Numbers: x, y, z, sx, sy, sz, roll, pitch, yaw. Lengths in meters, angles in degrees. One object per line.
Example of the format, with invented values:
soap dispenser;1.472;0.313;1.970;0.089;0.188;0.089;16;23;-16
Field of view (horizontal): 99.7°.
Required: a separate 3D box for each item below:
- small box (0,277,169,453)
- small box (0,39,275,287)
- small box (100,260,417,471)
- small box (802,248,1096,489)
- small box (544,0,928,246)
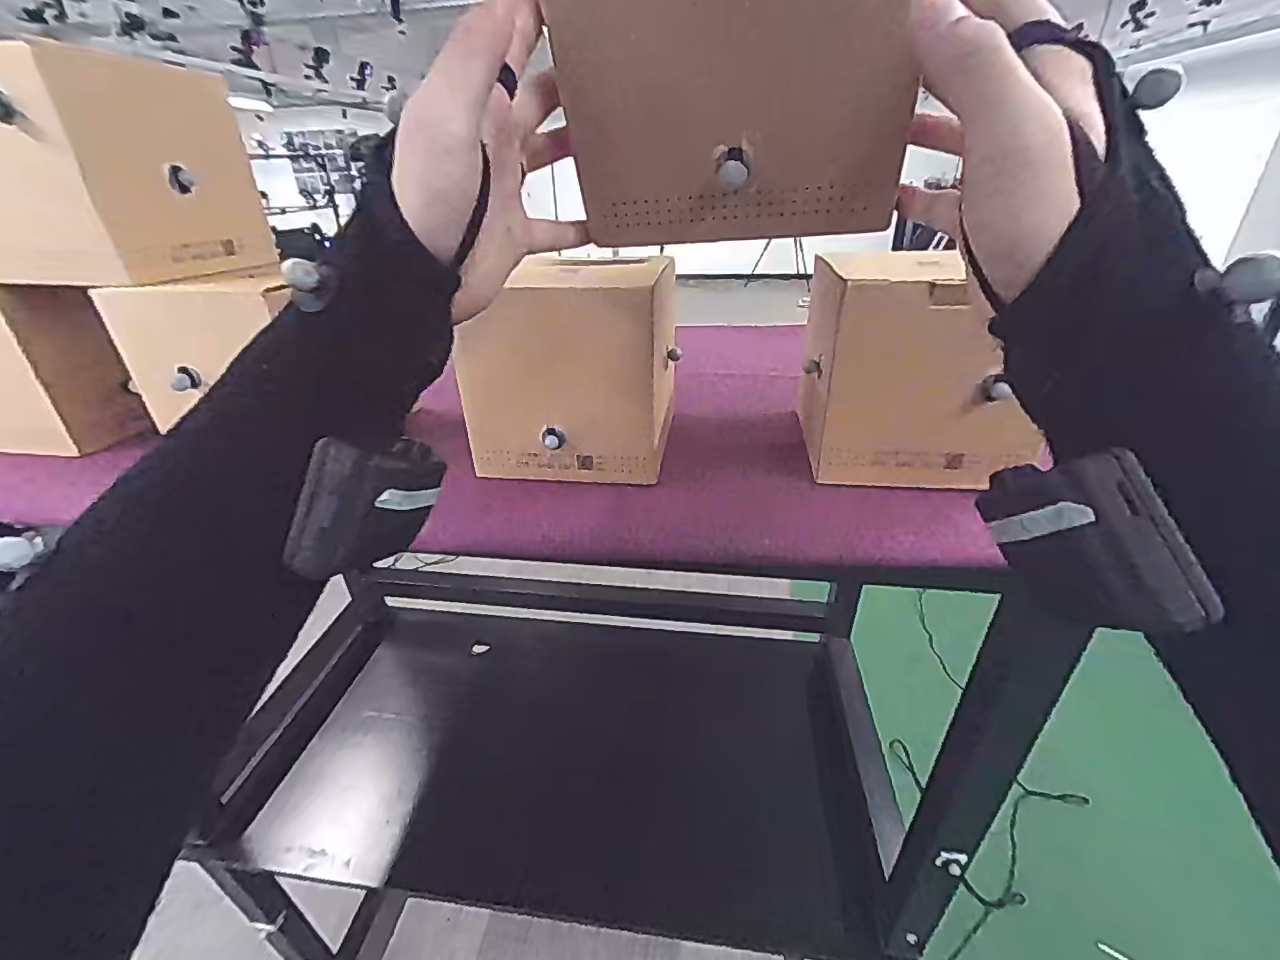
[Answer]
small box;-0.631;-0.139;0.589;0.179;0.176;0.168;4;30;8
small box;-0.484;-0.276;0.493;0.179;0.176;0.168;5;29;9
small box;-0.353;-0.118;0.545;0.168;0.176;0.179;3;29;9
small box;0.242;-0.104;0.480;0.168;0.176;0.179;3;29;9
small box;0.058;-0.255;0.313;0.179;0.176;0.168;2;49;12
